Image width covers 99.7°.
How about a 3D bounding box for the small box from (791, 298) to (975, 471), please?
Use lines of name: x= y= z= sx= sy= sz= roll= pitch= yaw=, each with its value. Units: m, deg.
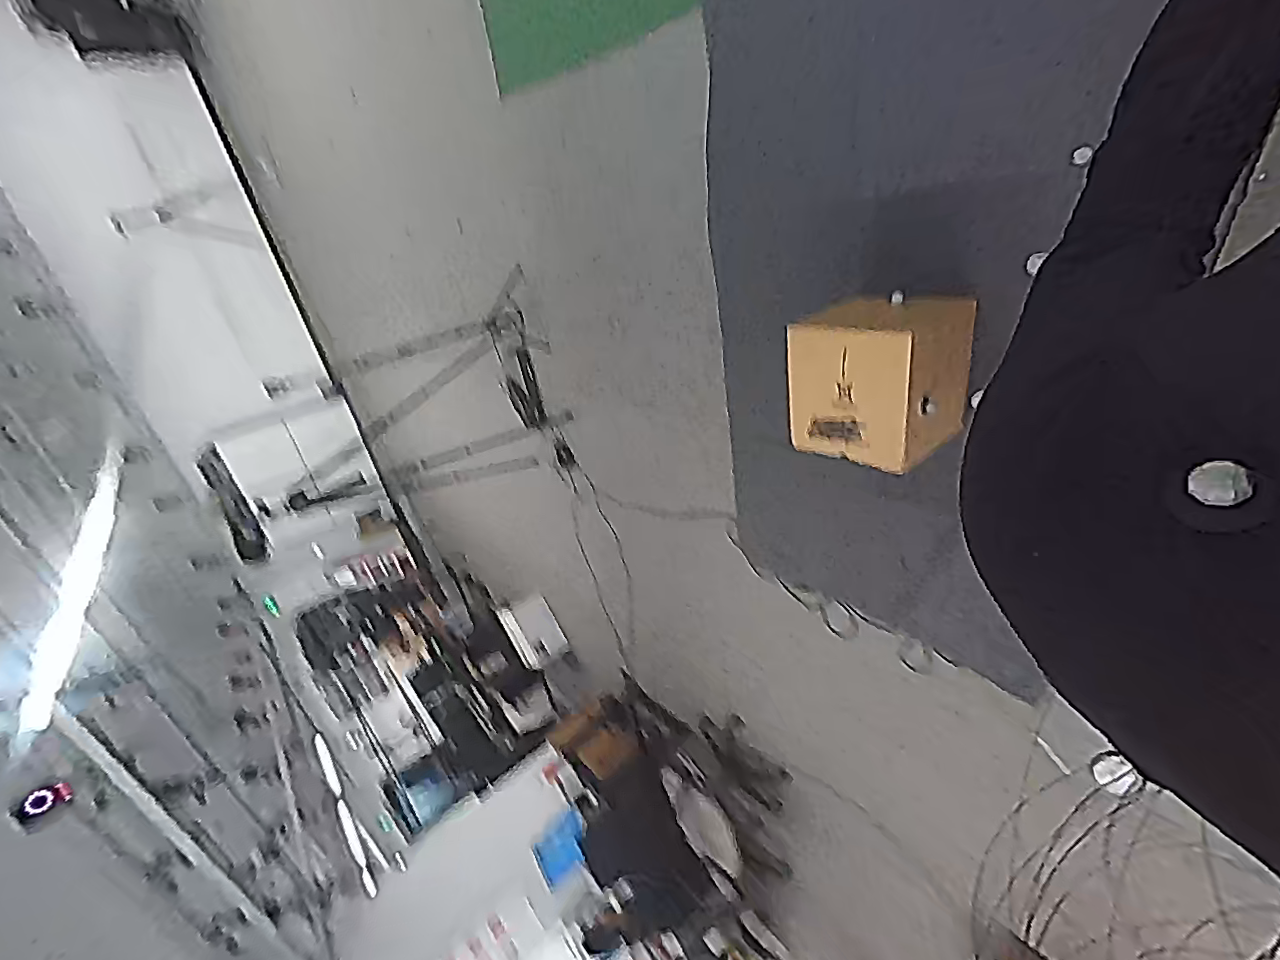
small box: x=0.326 y=-0.138 z=0.732 sx=0.168 sy=0.176 sz=0.179 roll=21 pitch=130 yaw=47
